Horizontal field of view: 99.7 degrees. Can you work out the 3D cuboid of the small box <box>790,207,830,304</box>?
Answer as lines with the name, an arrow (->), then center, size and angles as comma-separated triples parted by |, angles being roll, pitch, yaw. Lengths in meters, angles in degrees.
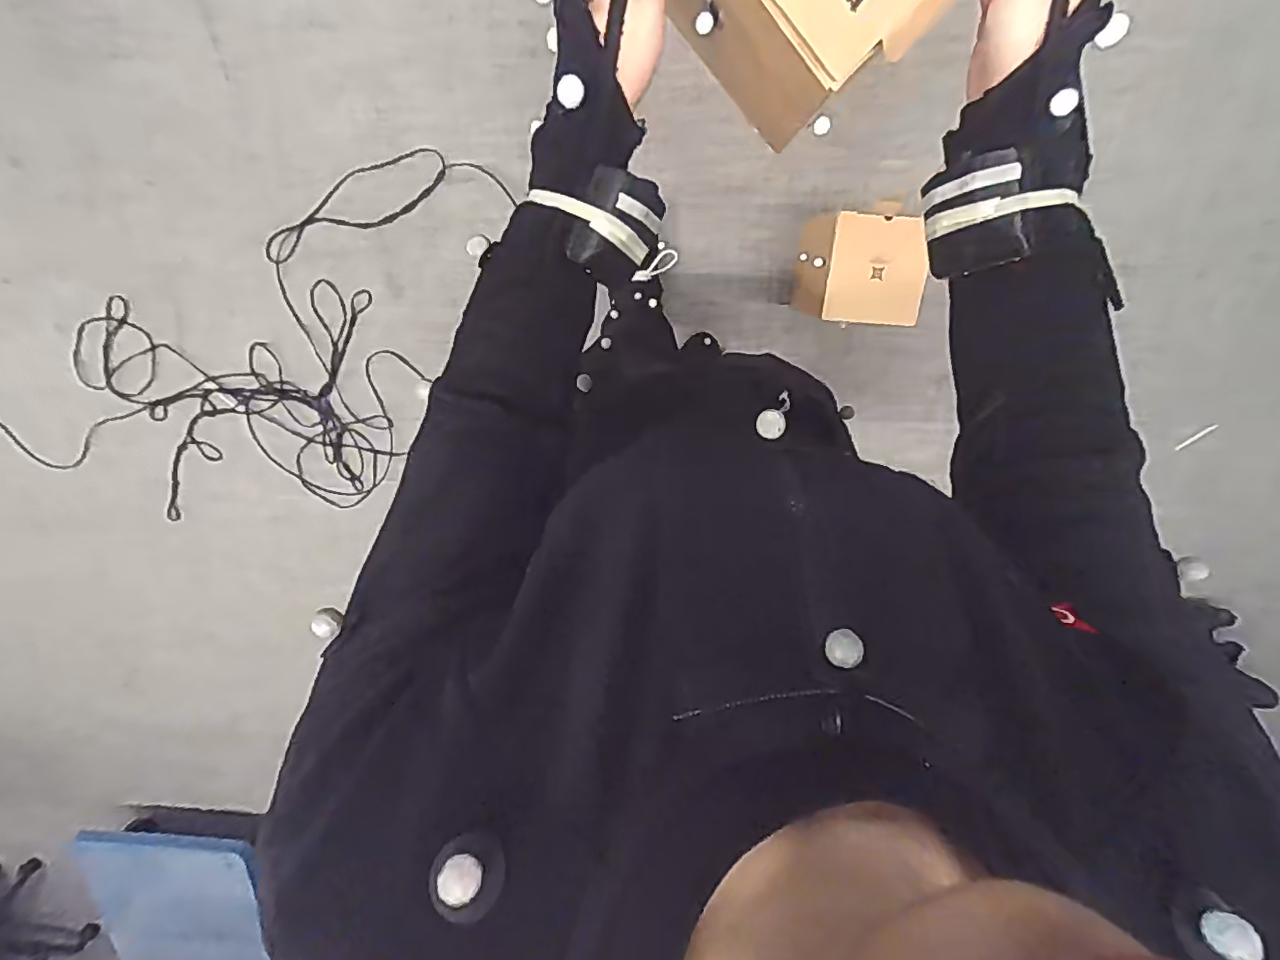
small box -> 0.423, -0.459, 1.134 | 0.168, 0.176, 0.179 | 4, 109, 1

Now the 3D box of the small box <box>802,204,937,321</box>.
small box -> 0.403, -0.391, 0.986 | 0.168, 0.176, 0.179 | 4, 110, 2
